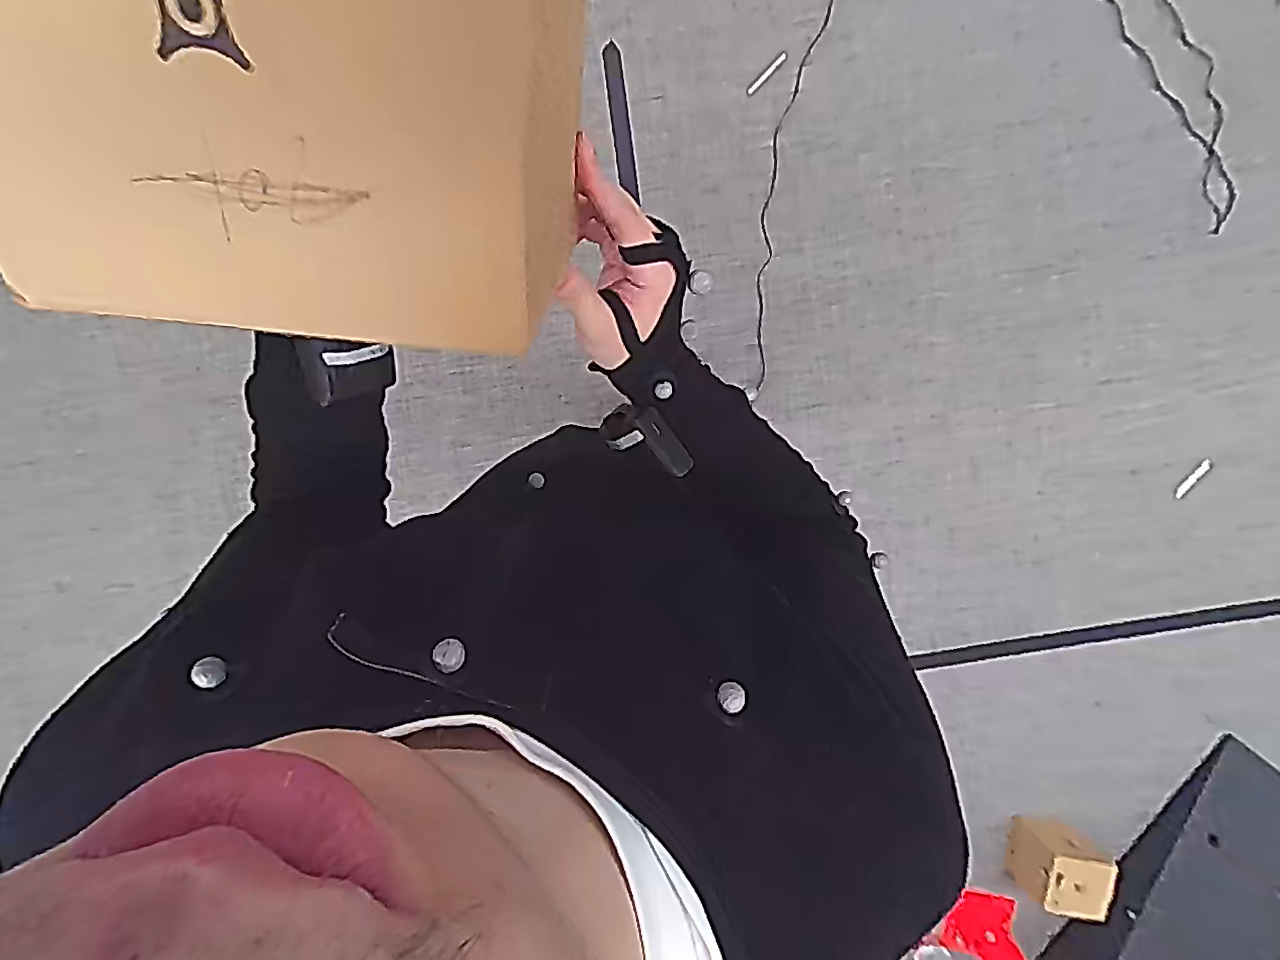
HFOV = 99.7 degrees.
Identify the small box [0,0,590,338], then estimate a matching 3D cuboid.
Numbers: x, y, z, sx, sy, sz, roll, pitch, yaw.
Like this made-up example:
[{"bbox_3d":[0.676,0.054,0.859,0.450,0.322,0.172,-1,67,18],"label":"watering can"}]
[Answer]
[{"bbox_3d":[-0.111,-0.172,0.210,0.168,0.176,0.179,4,125,-1],"label":"small box"}]
